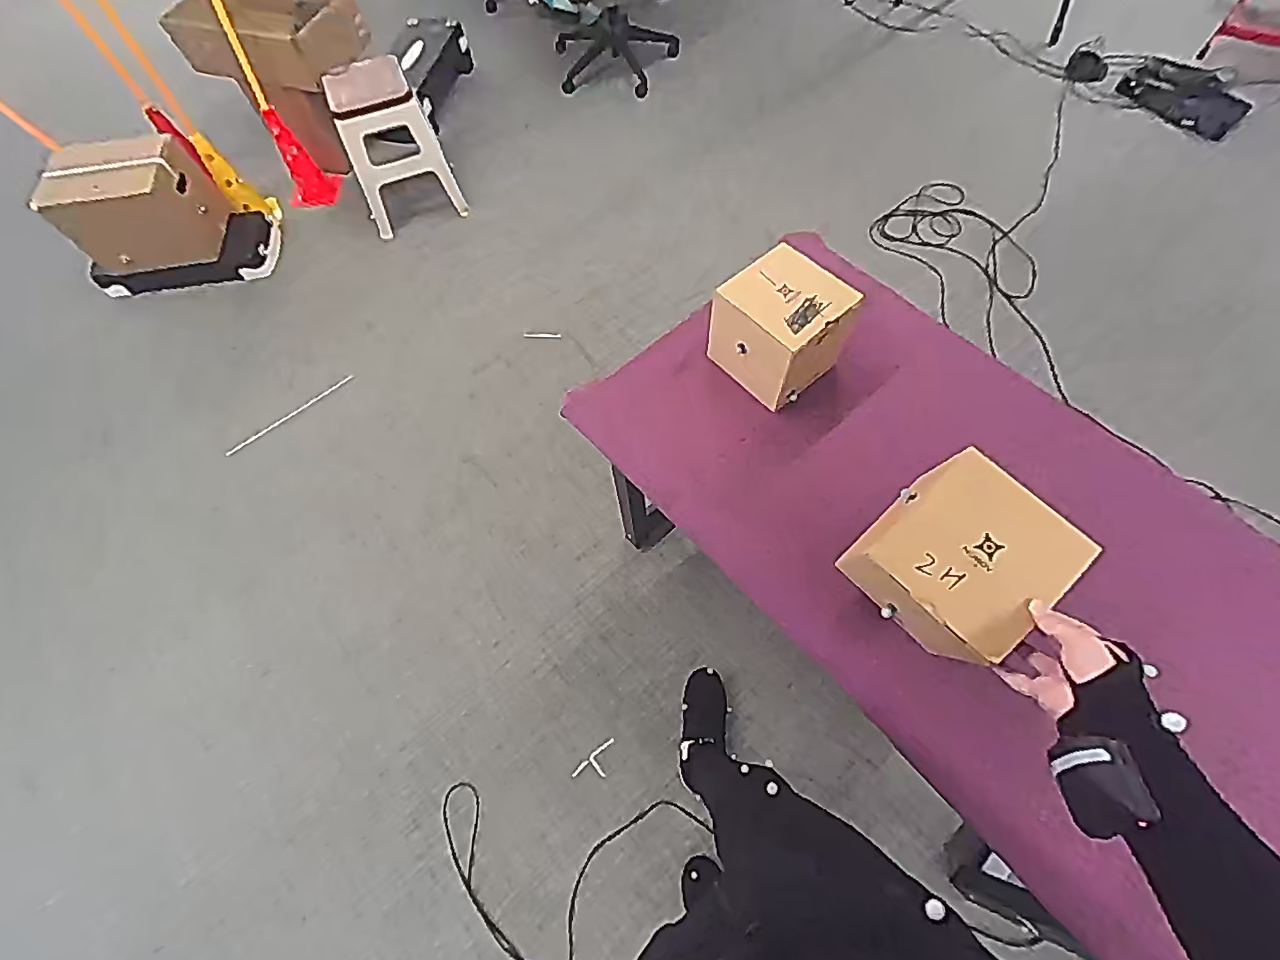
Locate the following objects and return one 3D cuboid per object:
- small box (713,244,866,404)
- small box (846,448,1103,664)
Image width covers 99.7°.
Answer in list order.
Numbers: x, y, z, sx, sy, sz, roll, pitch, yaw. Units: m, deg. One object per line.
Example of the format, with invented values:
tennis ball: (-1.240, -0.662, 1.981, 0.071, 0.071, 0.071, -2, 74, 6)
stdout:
small box: (0.244, -0.255, 0.927, 0.168, 0.176, 0.179, -38, 67, -15)
small box: (0.380, 0.093, 0.657, 0.179, 0.176, 0.168, -44, 75, -2)
